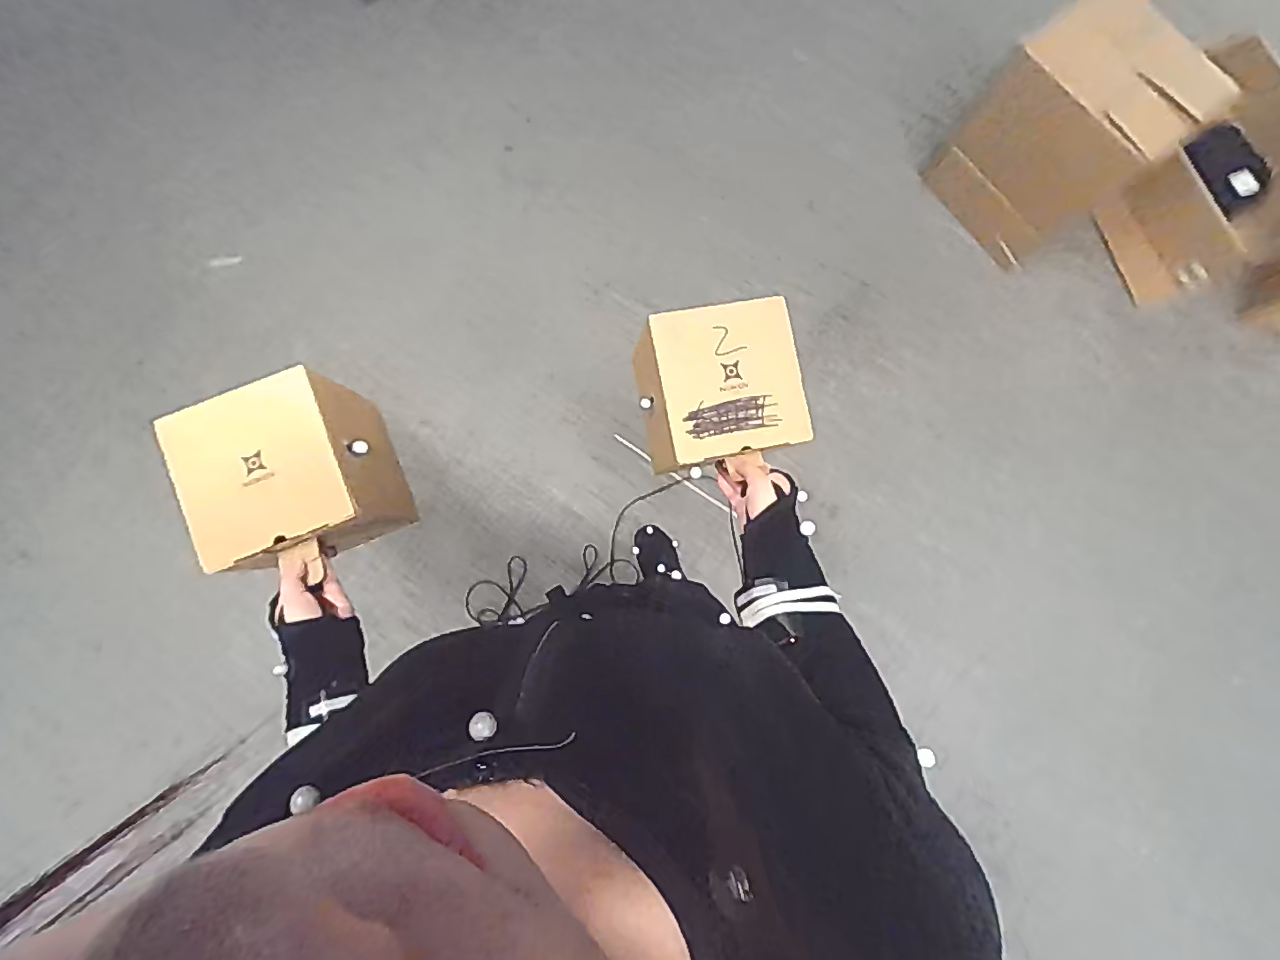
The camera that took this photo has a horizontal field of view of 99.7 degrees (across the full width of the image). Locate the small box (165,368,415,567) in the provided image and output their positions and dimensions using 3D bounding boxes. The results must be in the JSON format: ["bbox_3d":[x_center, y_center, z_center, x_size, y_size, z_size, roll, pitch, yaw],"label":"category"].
[{"bbox_3d":[-0.402,-0.007,0.651,0.168,0.176,0.179,-21,86,-3],"label":"small box"}]
